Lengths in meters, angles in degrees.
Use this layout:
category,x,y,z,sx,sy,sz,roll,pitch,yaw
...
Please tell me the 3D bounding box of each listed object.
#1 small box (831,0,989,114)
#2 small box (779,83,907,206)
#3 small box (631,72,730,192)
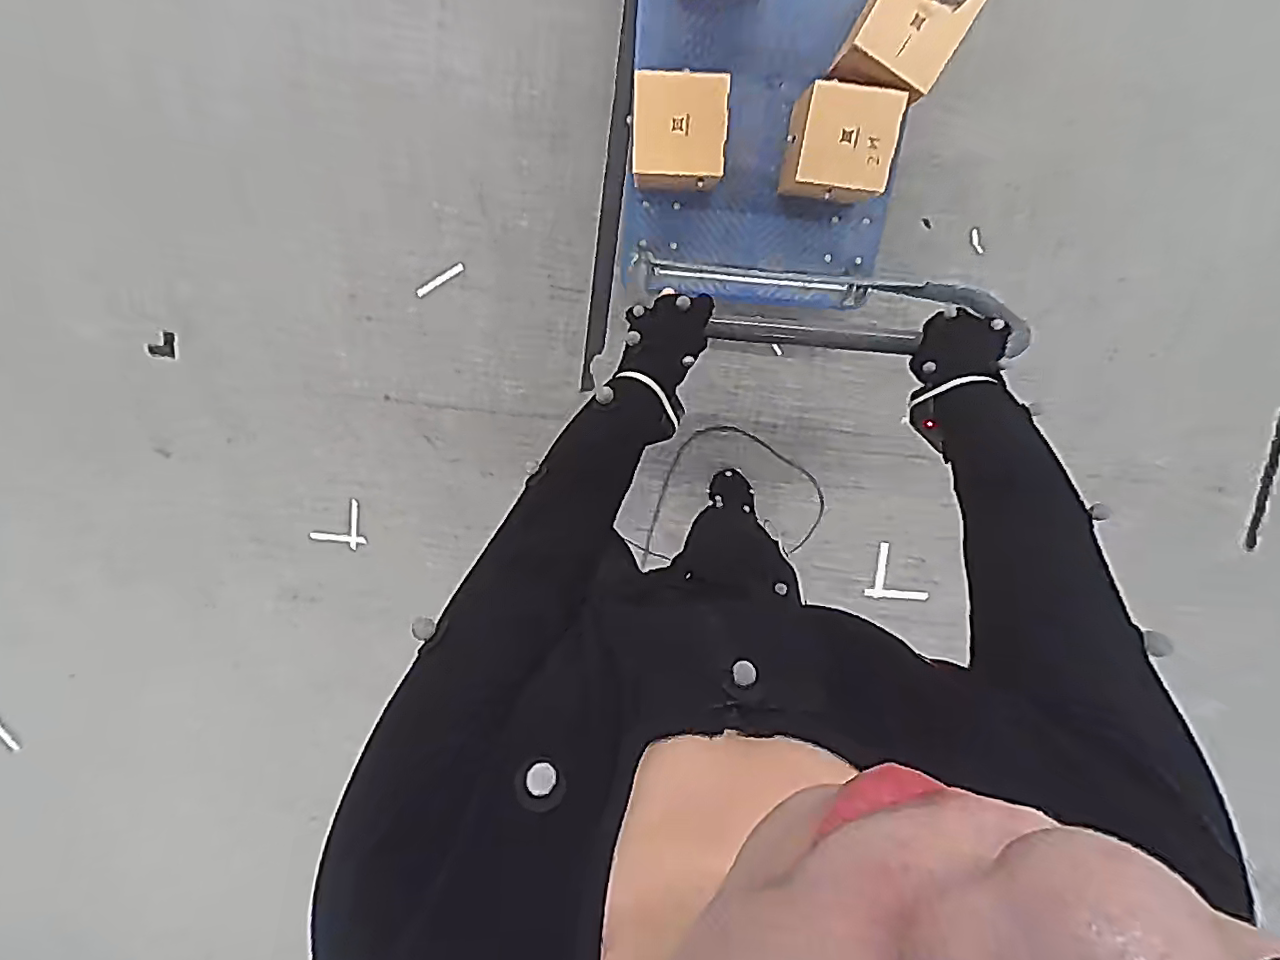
category,x,y,z,sx,sy,sz,roll,pitch,yaw
small box,0.490,-0.823,1.015,0.168,0.176,0.179,29,108,-8
small box,0.389,-0.655,1.077,0.179,0.176,0.168,8,110,-1
small box,0.074,-0.682,1.076,0.179,0.176,0.168,2,110,-1
